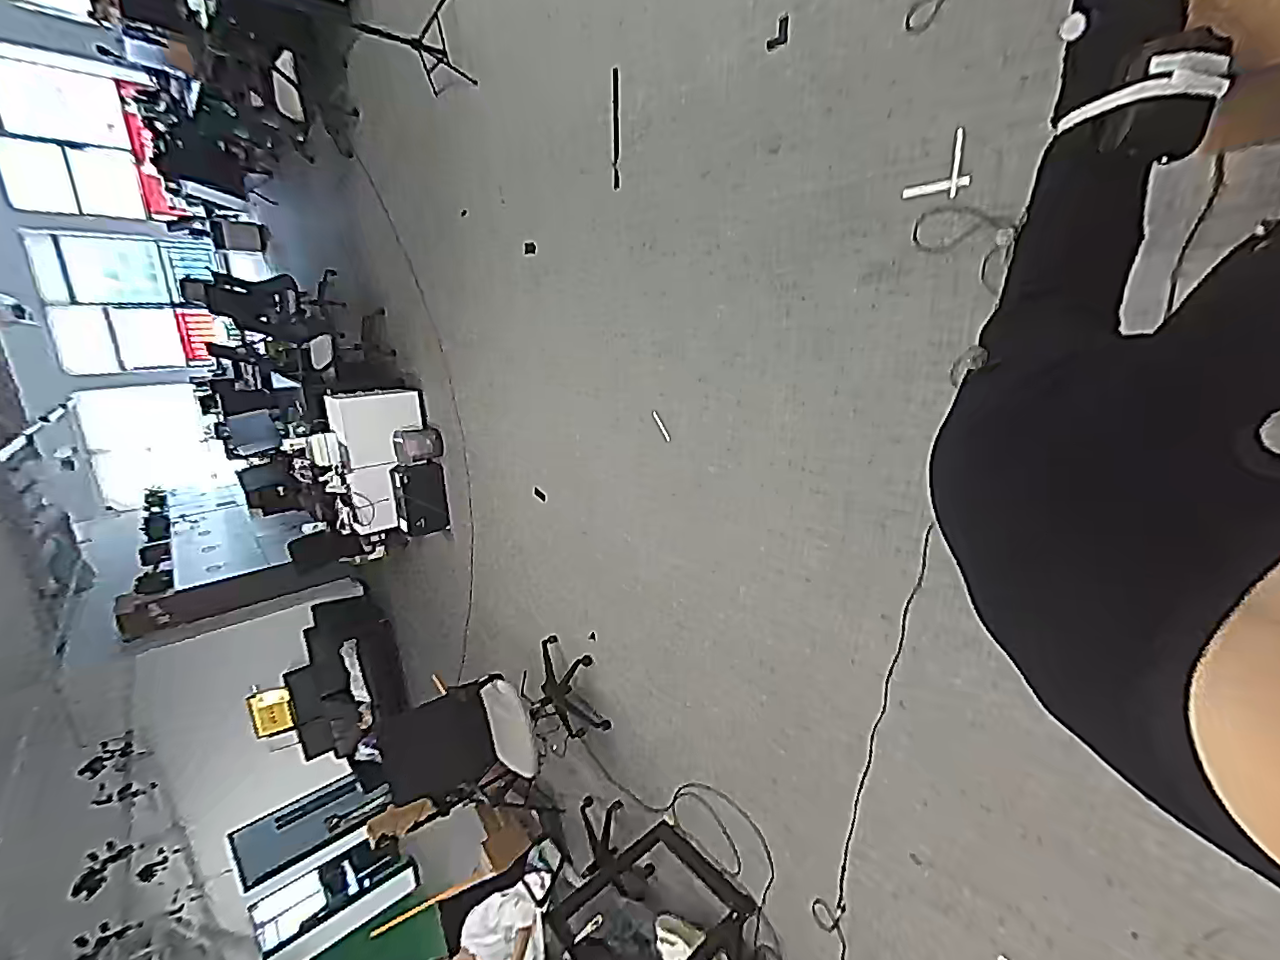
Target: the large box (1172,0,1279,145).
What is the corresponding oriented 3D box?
[{"bbox_3d":[0.612,-0.436,0.300,0.408,0.320,0.320,14,114,46],"label":"large box"}]
